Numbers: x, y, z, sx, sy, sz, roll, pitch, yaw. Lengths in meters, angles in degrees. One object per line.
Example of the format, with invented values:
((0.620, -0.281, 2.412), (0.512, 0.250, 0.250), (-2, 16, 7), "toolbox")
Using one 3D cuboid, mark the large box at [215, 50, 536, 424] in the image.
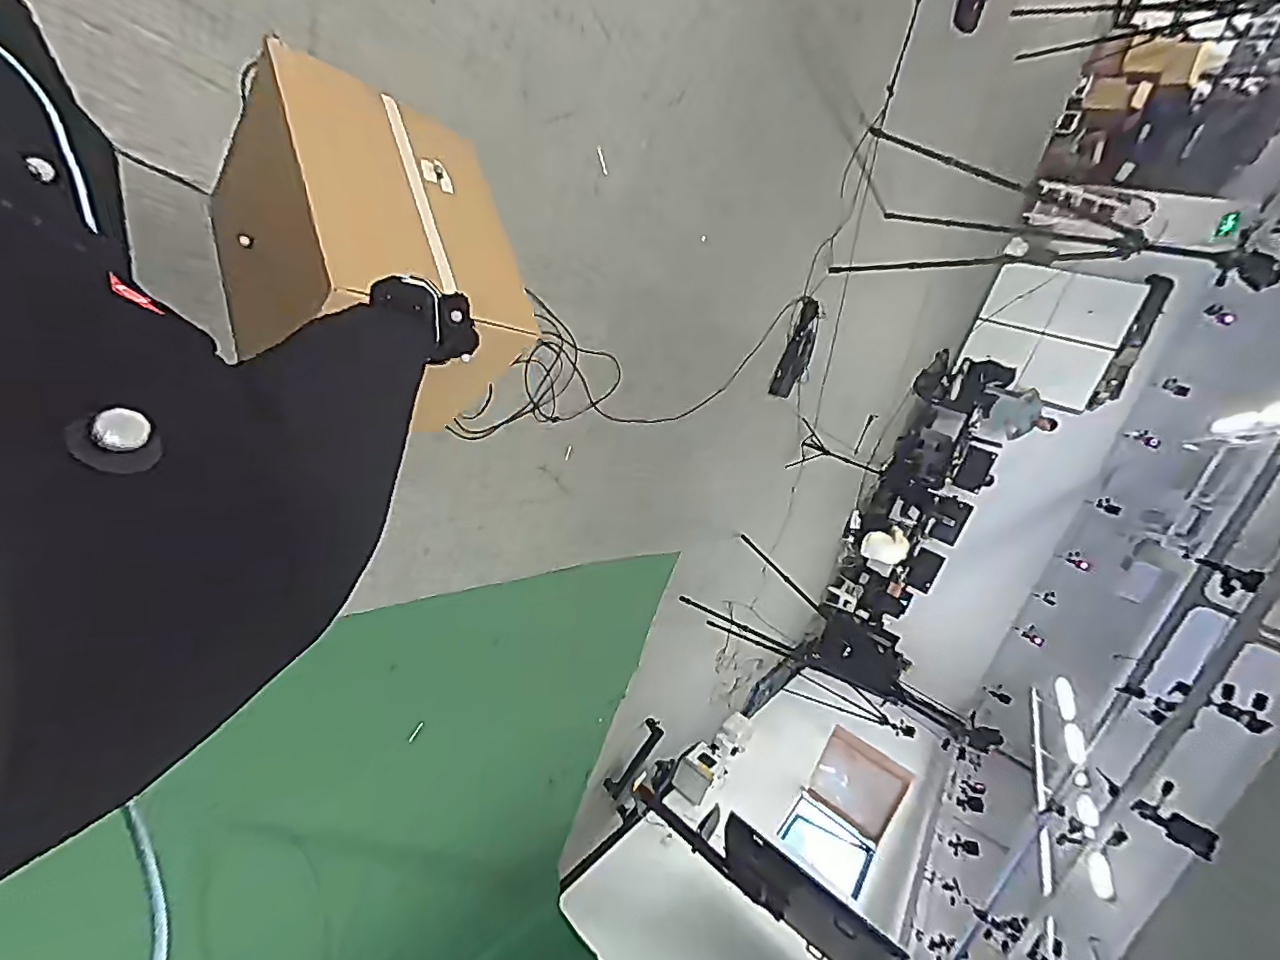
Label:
((-0.433, -0.337, 0.874), (0.320, 0.408, 0.320), (-32, 163, 34), "large box")
